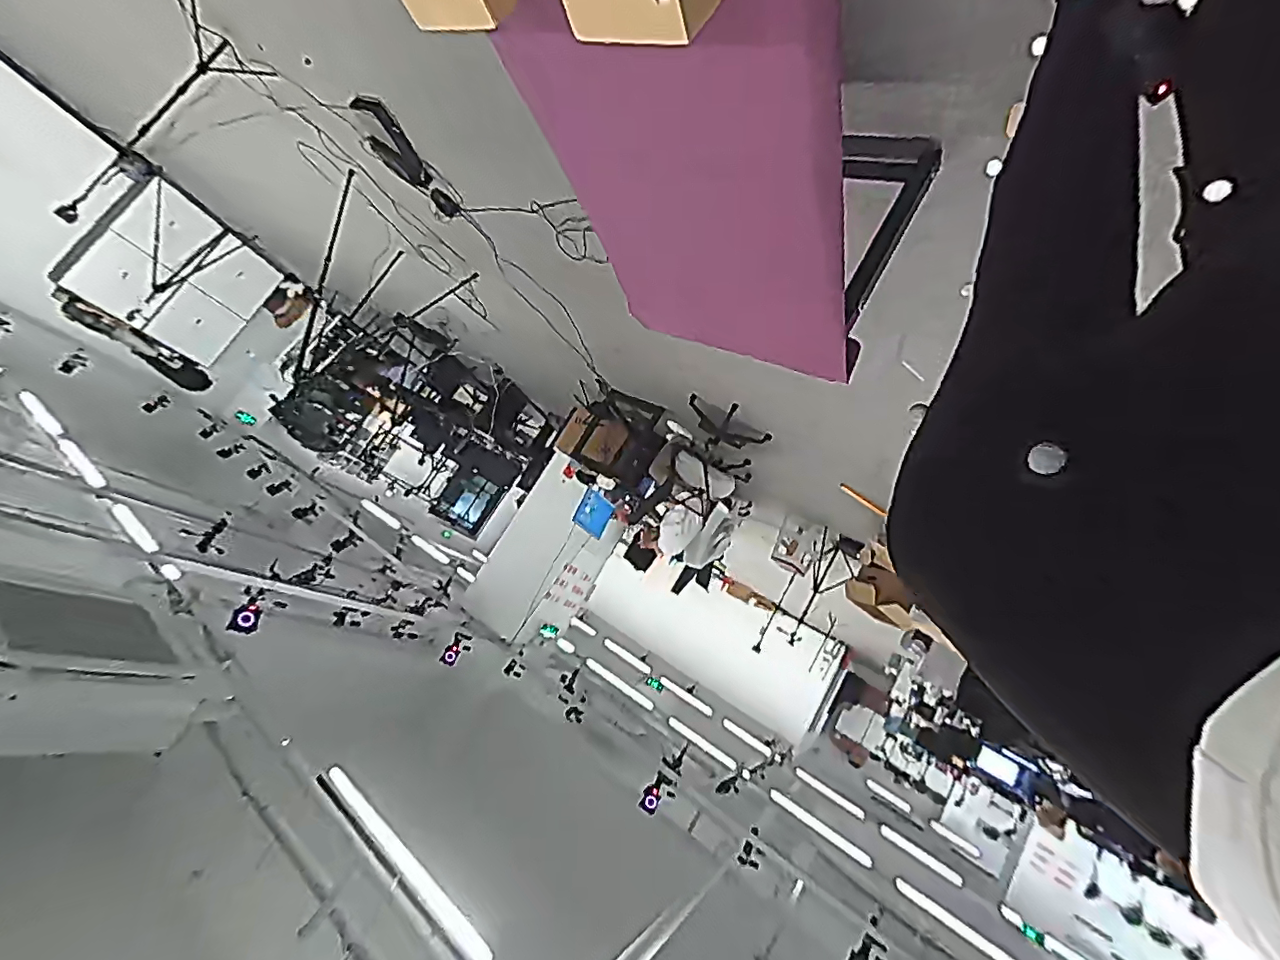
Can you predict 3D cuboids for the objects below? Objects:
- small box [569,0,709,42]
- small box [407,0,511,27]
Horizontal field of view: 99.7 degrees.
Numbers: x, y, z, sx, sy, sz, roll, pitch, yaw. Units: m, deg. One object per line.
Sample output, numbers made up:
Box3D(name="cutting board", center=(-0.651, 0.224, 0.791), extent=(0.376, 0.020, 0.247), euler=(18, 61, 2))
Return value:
Box3D(name="small box", center=(0.010, -0.630, 0.591), extent=(0.179, 0.176, 0.168), euler=(29, 171, 27))
Box3D(name="small box", center=(-0.247, -0.755, 0.724), extent=(0.179, 0.176, 0.168), euler=(24, 170, 27))
